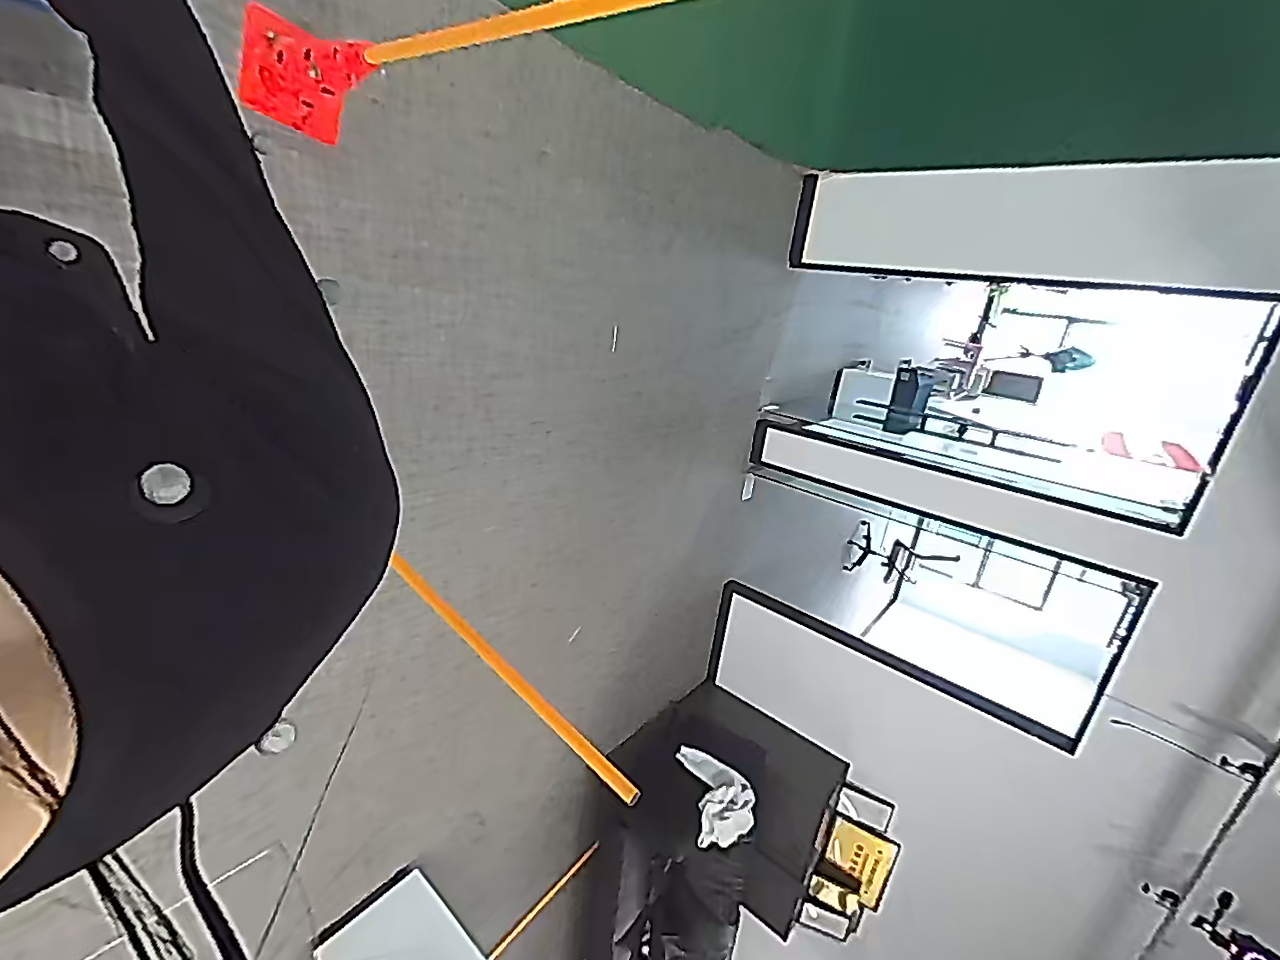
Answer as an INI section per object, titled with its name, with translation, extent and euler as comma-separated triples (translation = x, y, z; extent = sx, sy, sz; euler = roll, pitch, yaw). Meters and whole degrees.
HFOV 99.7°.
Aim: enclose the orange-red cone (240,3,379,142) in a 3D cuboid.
[orange-red cone]
translation = -0.627, -0.836, 1.092
extent = 0.198, 0.360, 0.199
euler = 2, 106, -53
